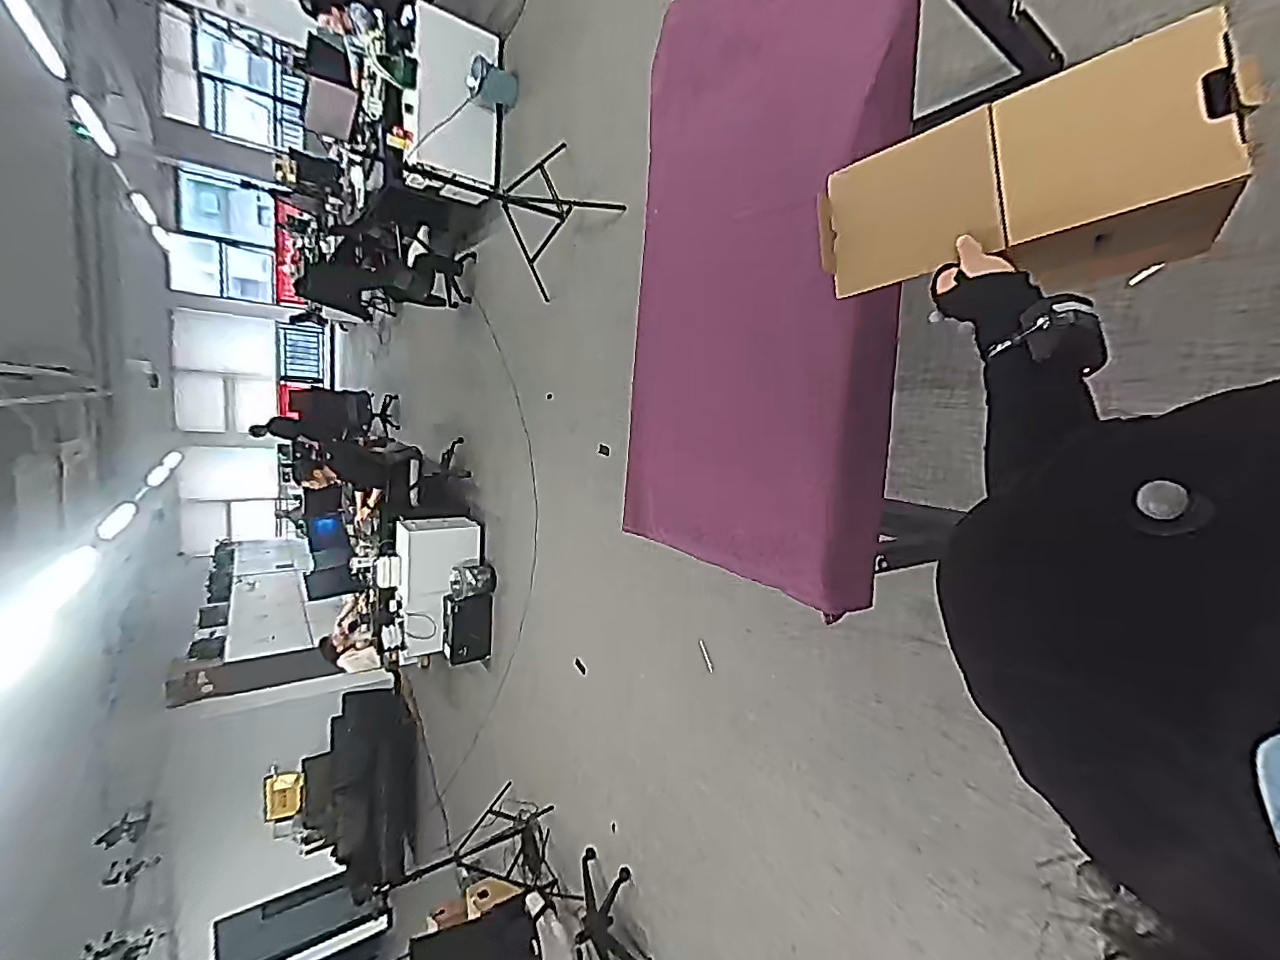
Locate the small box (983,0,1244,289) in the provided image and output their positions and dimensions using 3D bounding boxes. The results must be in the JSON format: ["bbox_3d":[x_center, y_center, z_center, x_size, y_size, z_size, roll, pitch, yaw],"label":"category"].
[{"bbox_3d":[0.480,-0.324,0.569,0.179,0.176,0.168,-7,83,37],"label":"small box"}]
